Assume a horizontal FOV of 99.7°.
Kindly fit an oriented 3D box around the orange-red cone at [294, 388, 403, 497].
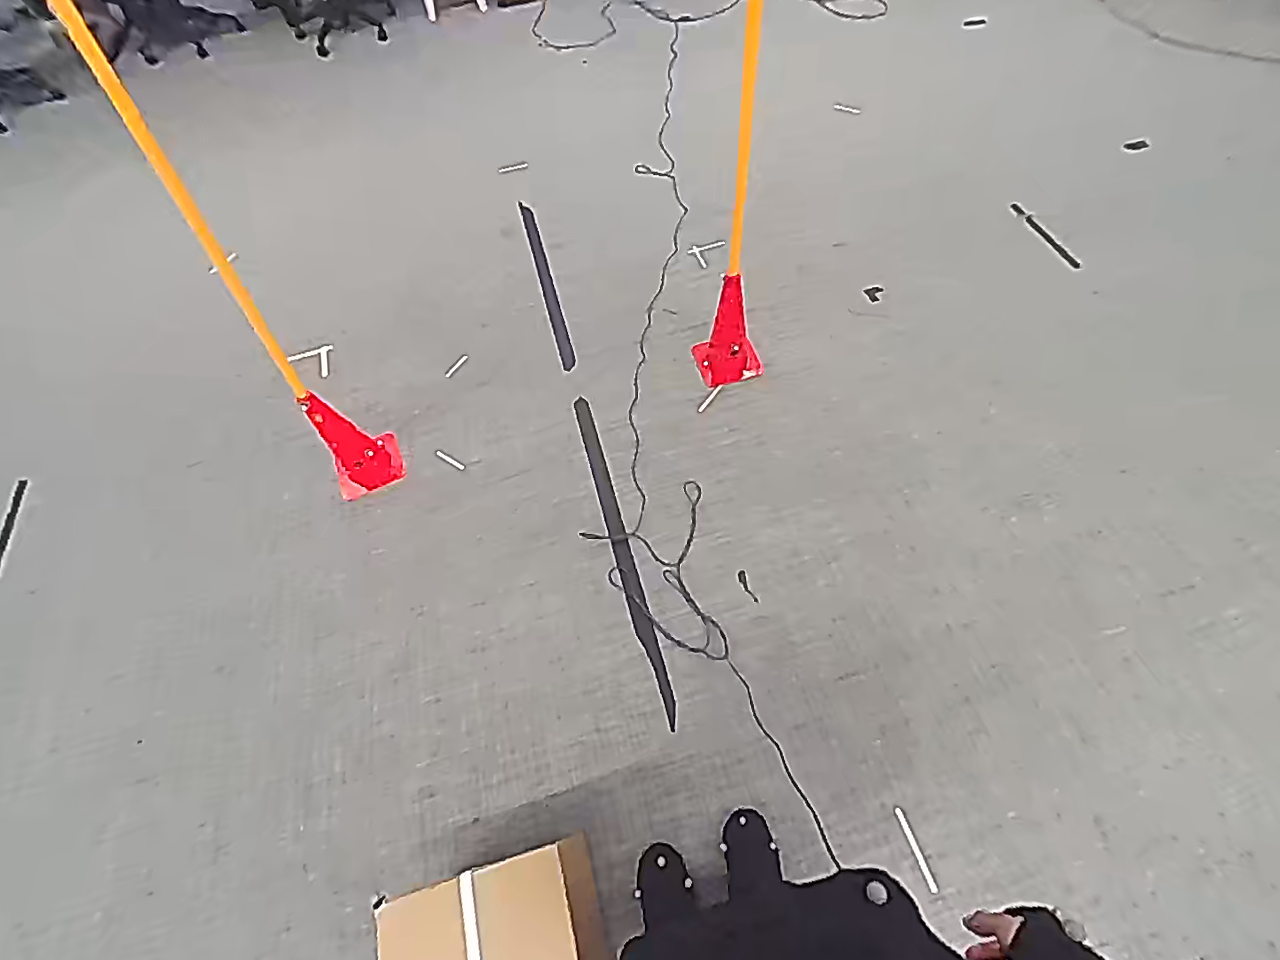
[{"bbox_3d":[-0.873,-0.137,1.561,0.199,0.360,0.198,-24,60,-8],"label":"orange-red cone"}]
